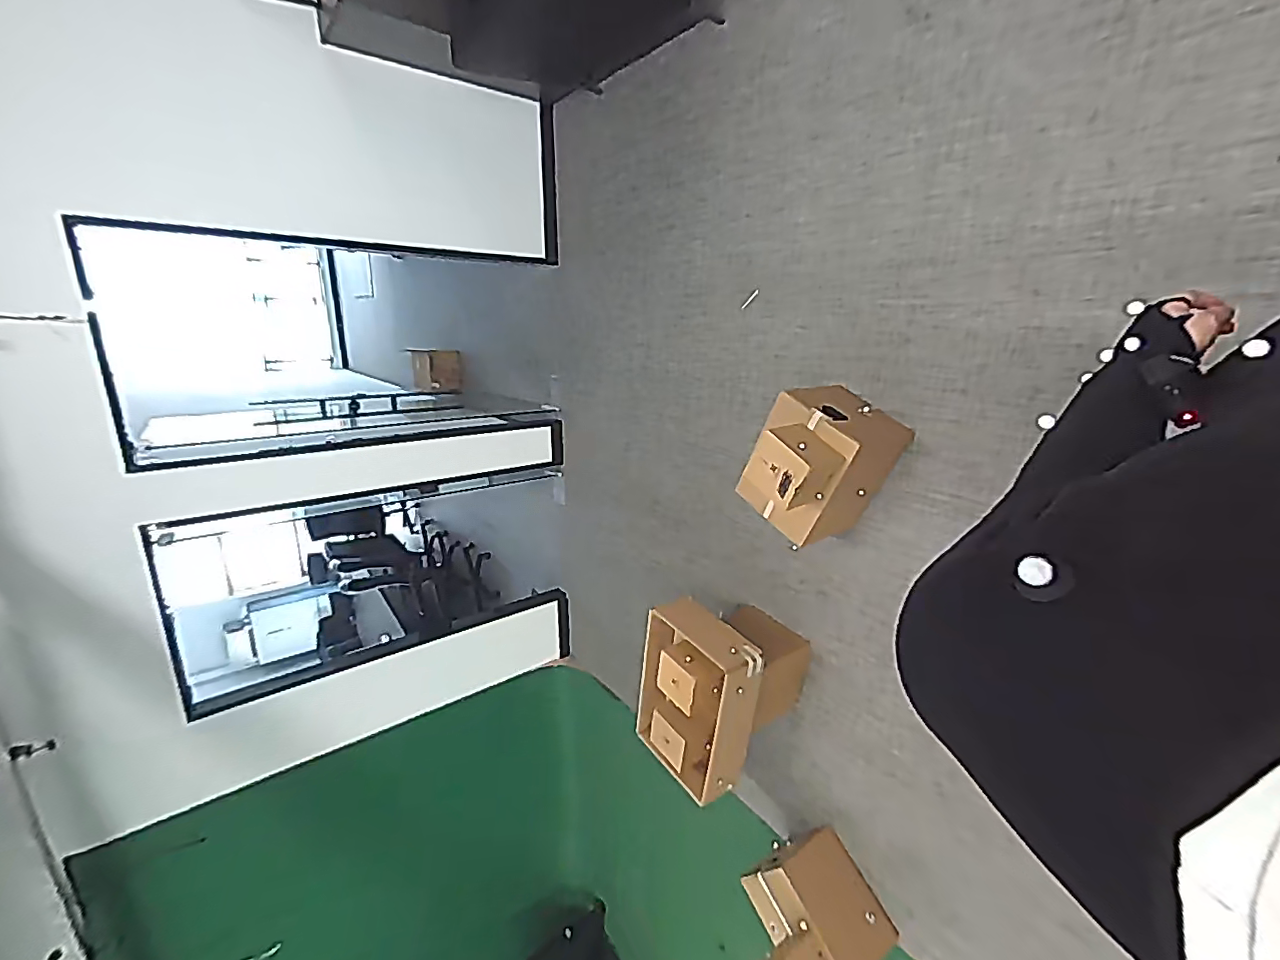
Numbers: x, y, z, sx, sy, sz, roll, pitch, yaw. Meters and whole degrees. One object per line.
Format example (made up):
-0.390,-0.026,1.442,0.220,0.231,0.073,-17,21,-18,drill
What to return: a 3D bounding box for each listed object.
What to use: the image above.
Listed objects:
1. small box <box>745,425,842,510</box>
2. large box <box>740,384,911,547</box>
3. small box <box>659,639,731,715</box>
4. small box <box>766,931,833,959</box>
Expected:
0.445,-0.043,1.560,0.179,0.176,0.168,49,134,32,small box
0.596,-0.059,1.770,0.320,0.320,0.408,47,134,36,large box
0.193,0.687,1.917,0.179,0.176,0.168,29,121,44,small box
0.566,1.714,1.874,0.168,0.176,0.179,56,137,28,small box
